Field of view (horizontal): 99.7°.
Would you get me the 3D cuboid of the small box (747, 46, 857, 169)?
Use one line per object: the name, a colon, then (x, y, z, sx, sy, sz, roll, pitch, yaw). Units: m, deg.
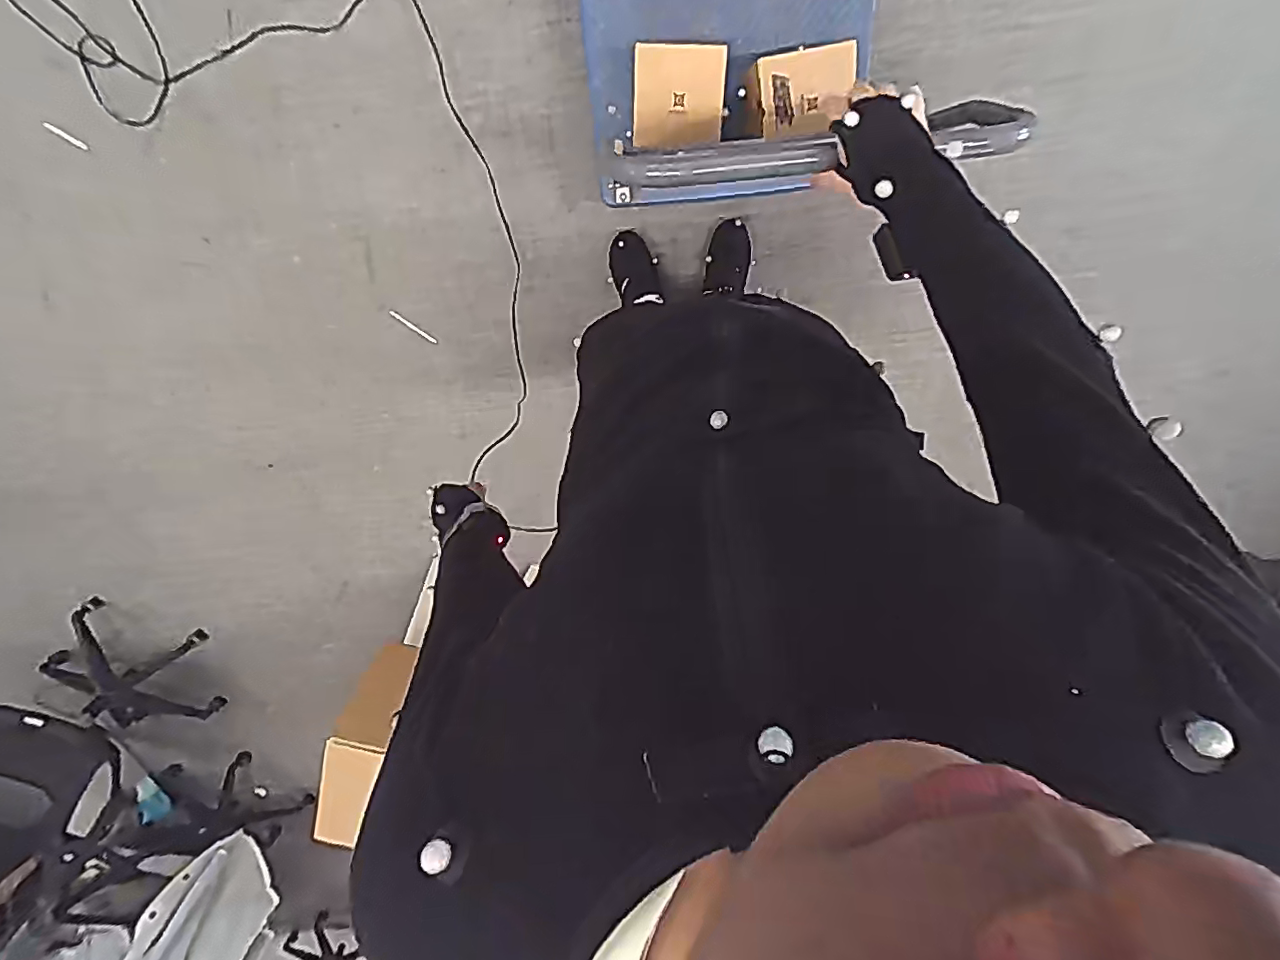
small box: (0.310, -0.721, 1.066, 0.179, 0.176, 0.168, -8, 118, 4)

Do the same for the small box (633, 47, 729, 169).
small box: (0.072, -0.722, 1.066, 0.168, 0.176, 0.179, 1, 118, -1)
